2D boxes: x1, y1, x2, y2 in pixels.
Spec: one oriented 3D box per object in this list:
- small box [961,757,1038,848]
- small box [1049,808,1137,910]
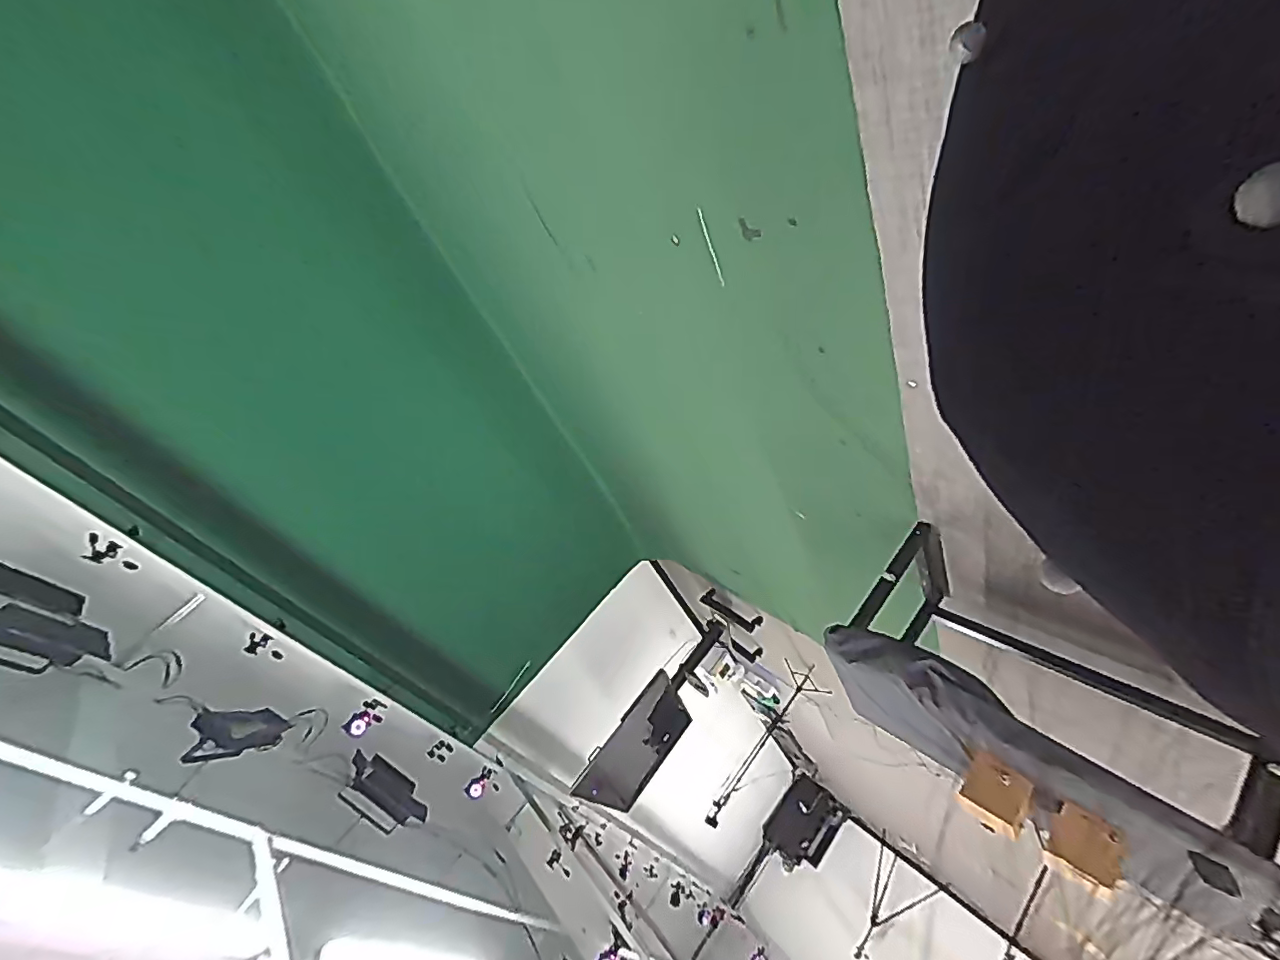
[{"bbox_3d":[1.203,1.070,1.804,0.168,0.176,0.179,18,147,49],"label":"small box"},{"bbox_3d":[1.355,1.129,1.620,0.168,0.176,0.179,20,151,48],"label":"small box"}]
